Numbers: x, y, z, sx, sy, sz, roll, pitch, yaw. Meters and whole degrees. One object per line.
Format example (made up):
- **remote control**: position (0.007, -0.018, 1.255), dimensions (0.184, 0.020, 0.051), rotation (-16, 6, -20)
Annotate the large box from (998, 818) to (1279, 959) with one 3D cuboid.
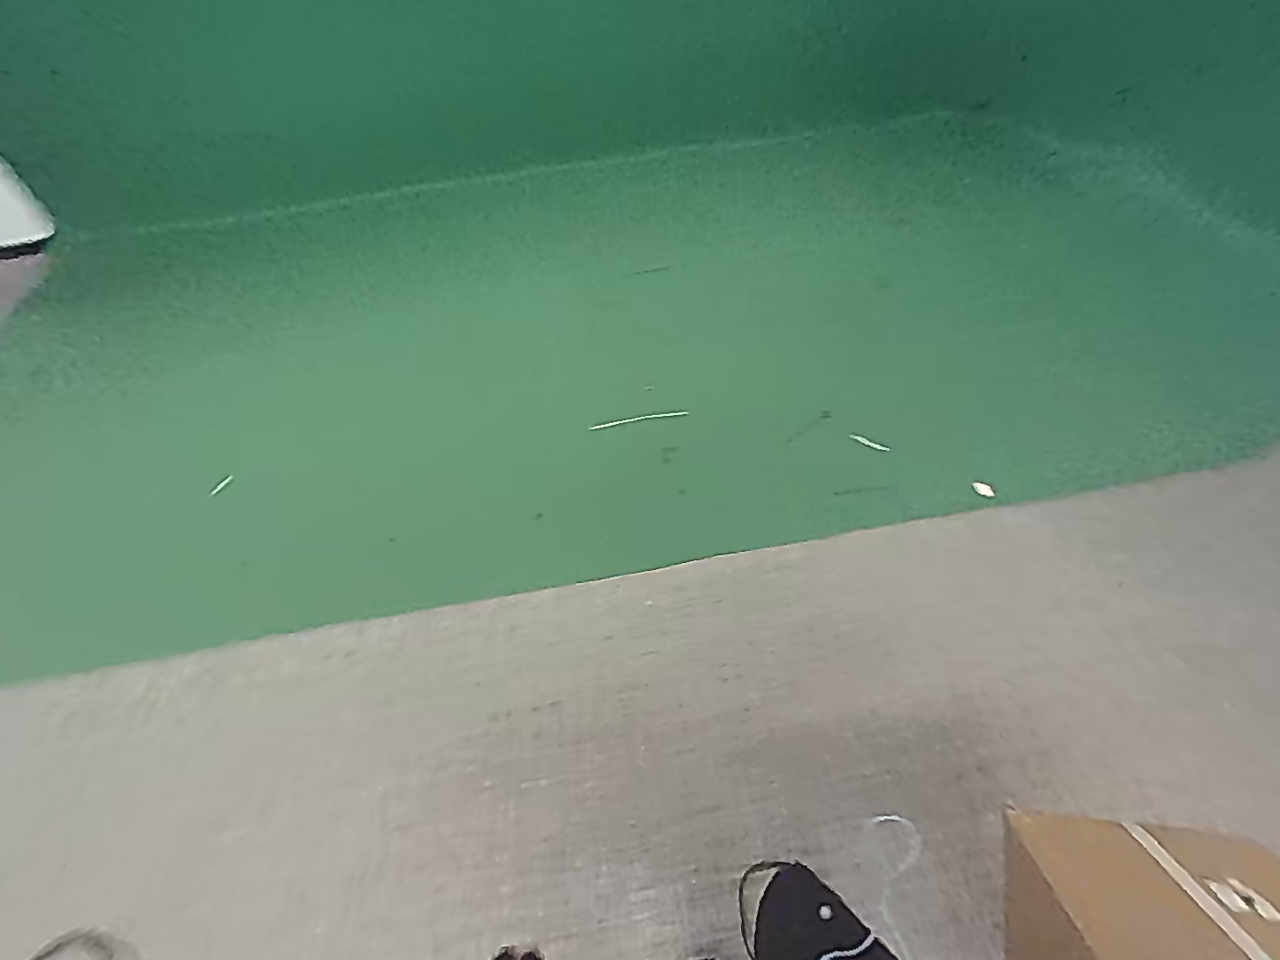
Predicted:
- **large box**: position (0.643, 0.662, 0.592), dimensions (0.320, 0.408, 0.320), rotation (1, 90, 15)
